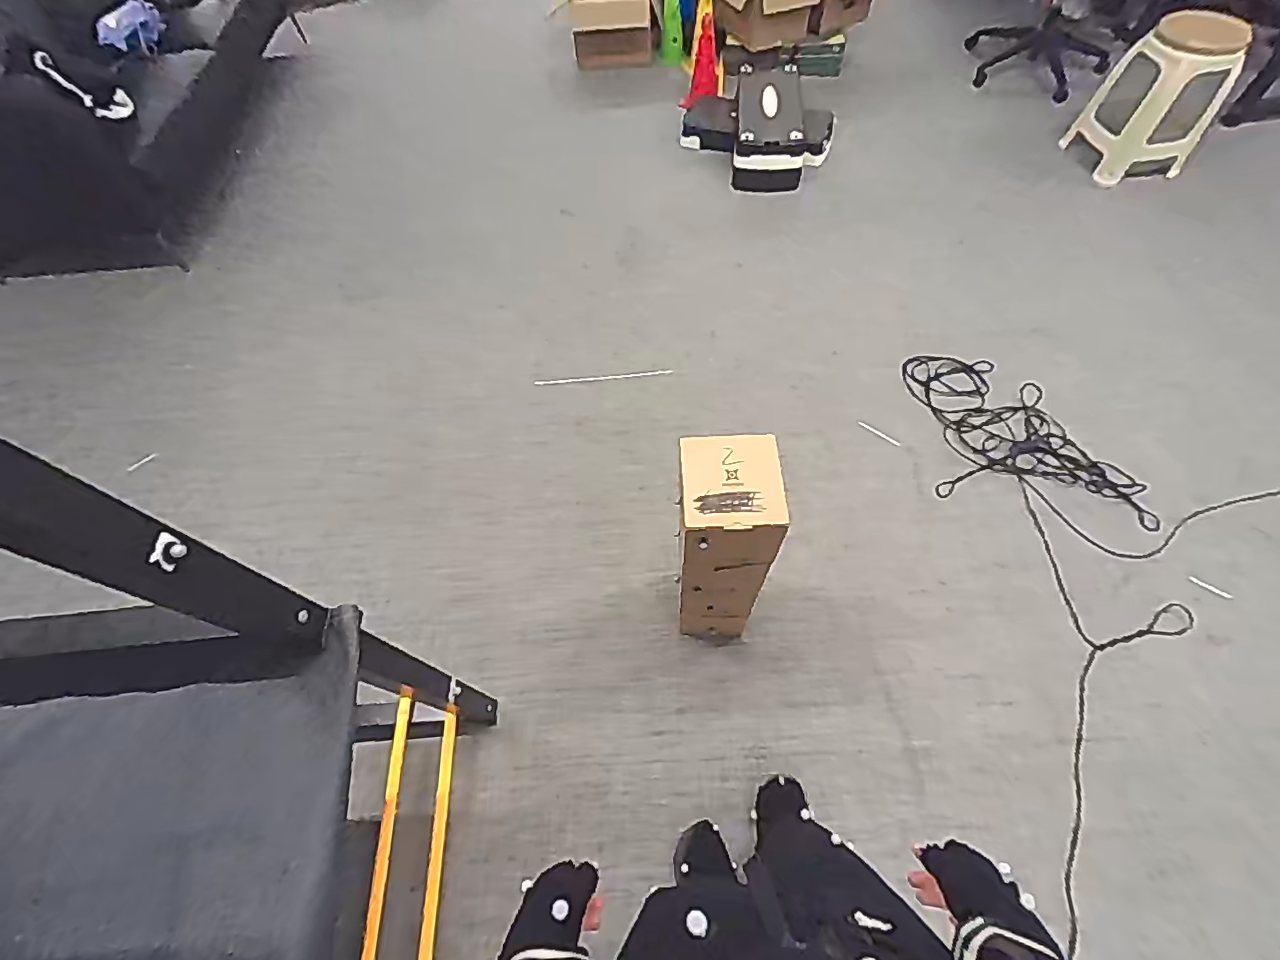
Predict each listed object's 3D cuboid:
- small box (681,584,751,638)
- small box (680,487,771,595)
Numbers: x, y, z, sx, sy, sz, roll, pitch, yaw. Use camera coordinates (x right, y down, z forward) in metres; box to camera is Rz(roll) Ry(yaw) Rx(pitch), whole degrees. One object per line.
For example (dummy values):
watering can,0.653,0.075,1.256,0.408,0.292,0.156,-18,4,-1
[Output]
small box,0.190,0.294,1.387,0.168,0.176,0.179,0,60,5
small box,0.167,0.130,1.106,0.168,0.176,0.179,-1,59,3
